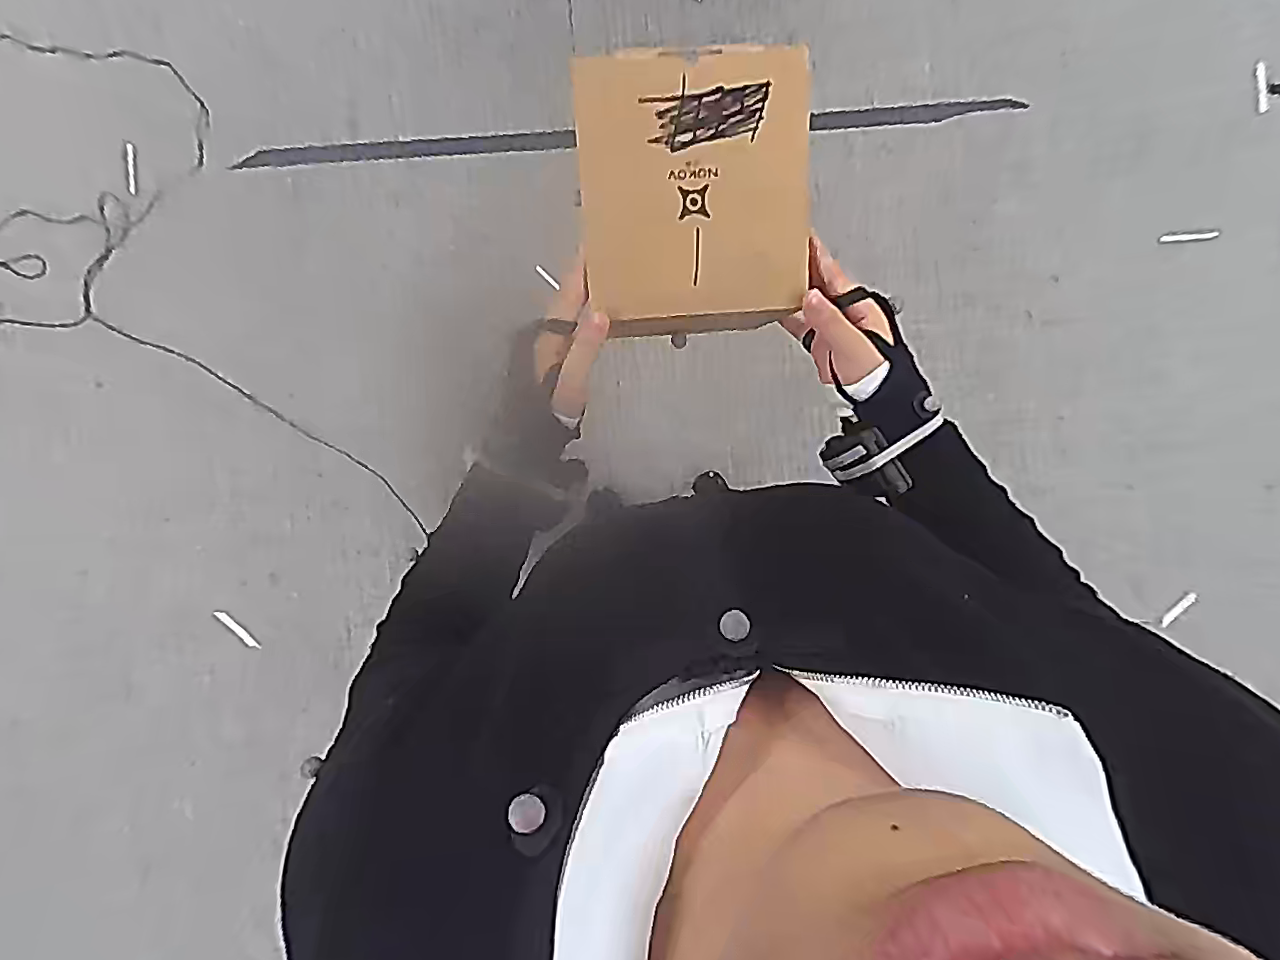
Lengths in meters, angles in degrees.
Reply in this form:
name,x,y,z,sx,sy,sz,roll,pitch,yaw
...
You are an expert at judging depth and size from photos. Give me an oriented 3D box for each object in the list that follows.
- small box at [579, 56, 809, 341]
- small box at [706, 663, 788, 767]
name,x,y,z,sx,sy,sz,roll,pitch,yaw
small box,0.039,-0.222,0.471,0.168,0.176,0.179,-4,100,0
small box,0.255,0.565,1.314,0.168,0.176,0.179,-5,90,1
